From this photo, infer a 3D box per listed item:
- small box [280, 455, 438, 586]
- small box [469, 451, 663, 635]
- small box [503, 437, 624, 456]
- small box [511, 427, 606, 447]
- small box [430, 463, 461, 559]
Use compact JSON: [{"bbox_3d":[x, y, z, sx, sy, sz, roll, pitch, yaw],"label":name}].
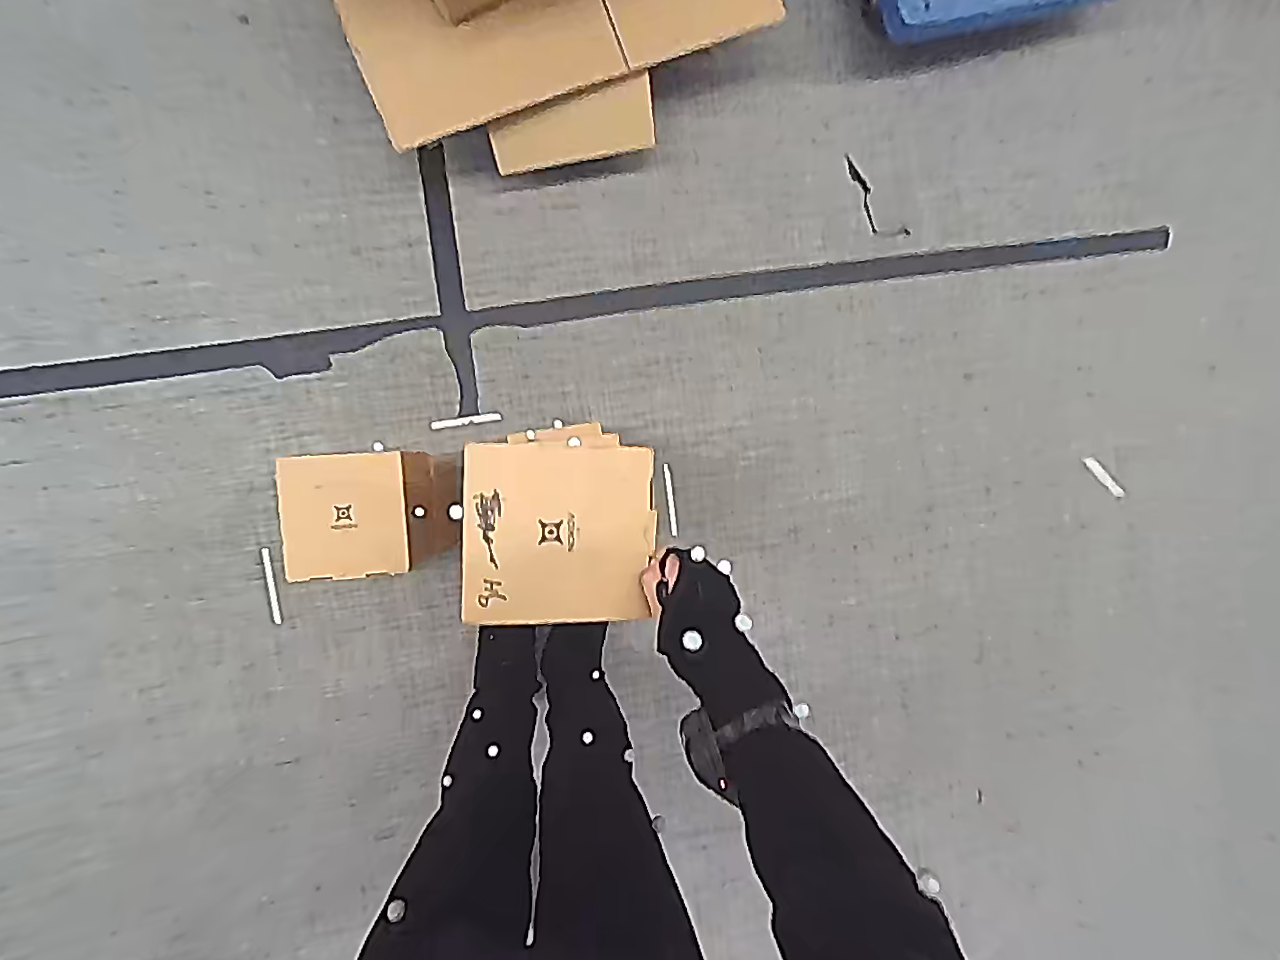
[{"bbox_3d":[-0.414,0.053,0.827,0.168,0.176,0.179,-4,92,-8],"label":"small box"},{"bbox_3d":[-0.081,0.056,0.569,0.179,0.176,0.168,1,90,-11],"label":"small box"},{"bbox_3d":[-0.113,0.023,0.859,0.179,0.176,0.168,-6,94,-7],"label":"small box"},{"bbox_3d":[-0.140,-0.002,1.020,0.168,0.176,0.179,-9,93,-7],"label":"small box"},{"bbox_3d":[-0.437,0.053,0.988,0.179,0.176,0.168,-2,93,-7],"label":"small box"}]
